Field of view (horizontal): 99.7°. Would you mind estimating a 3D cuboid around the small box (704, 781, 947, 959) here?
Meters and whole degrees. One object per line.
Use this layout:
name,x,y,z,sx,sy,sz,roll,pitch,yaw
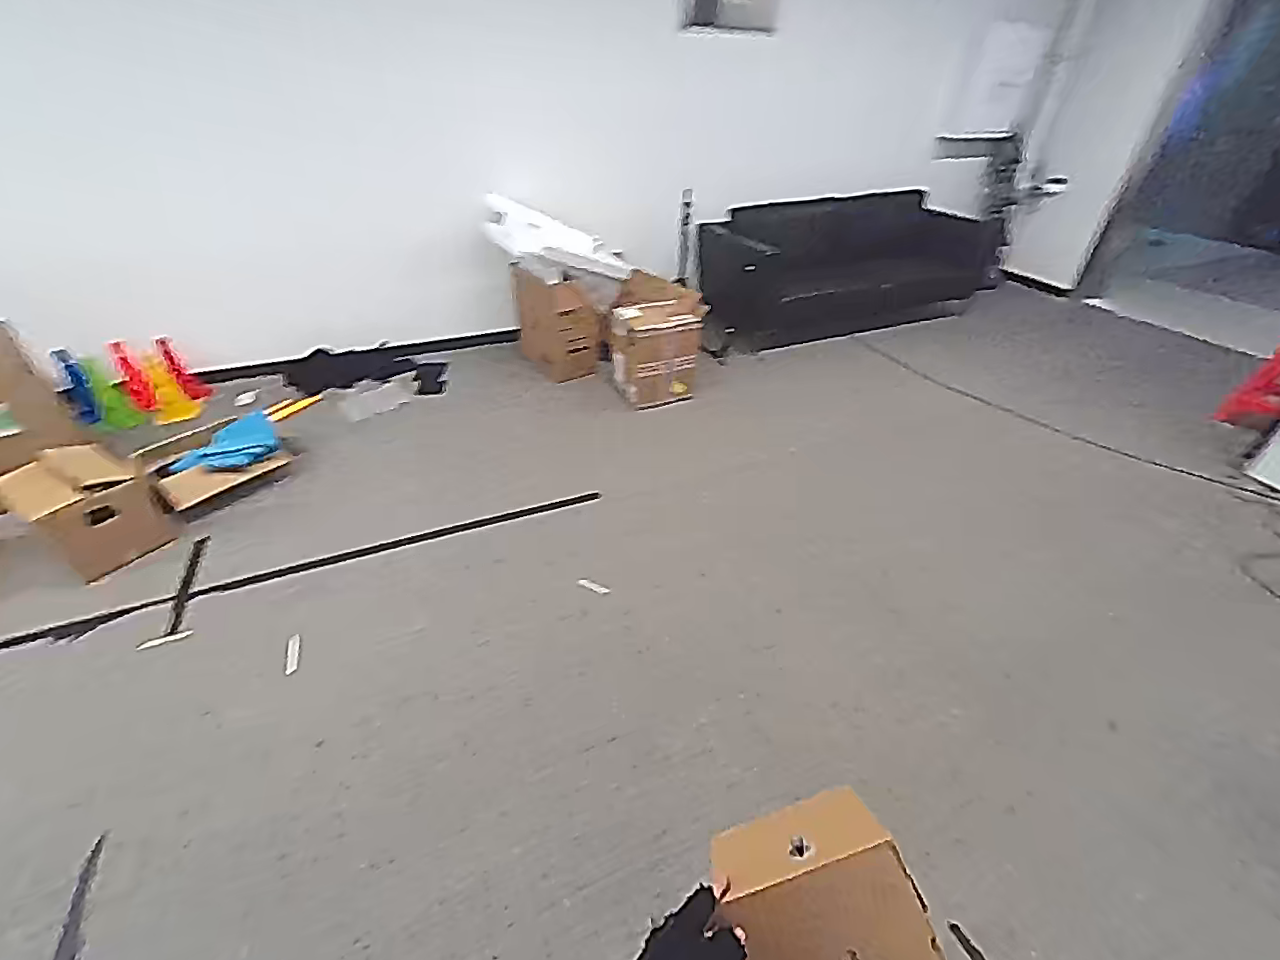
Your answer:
small box,0.172,0.425,0.530,0.179,0.176,0.168,-23,72,1
